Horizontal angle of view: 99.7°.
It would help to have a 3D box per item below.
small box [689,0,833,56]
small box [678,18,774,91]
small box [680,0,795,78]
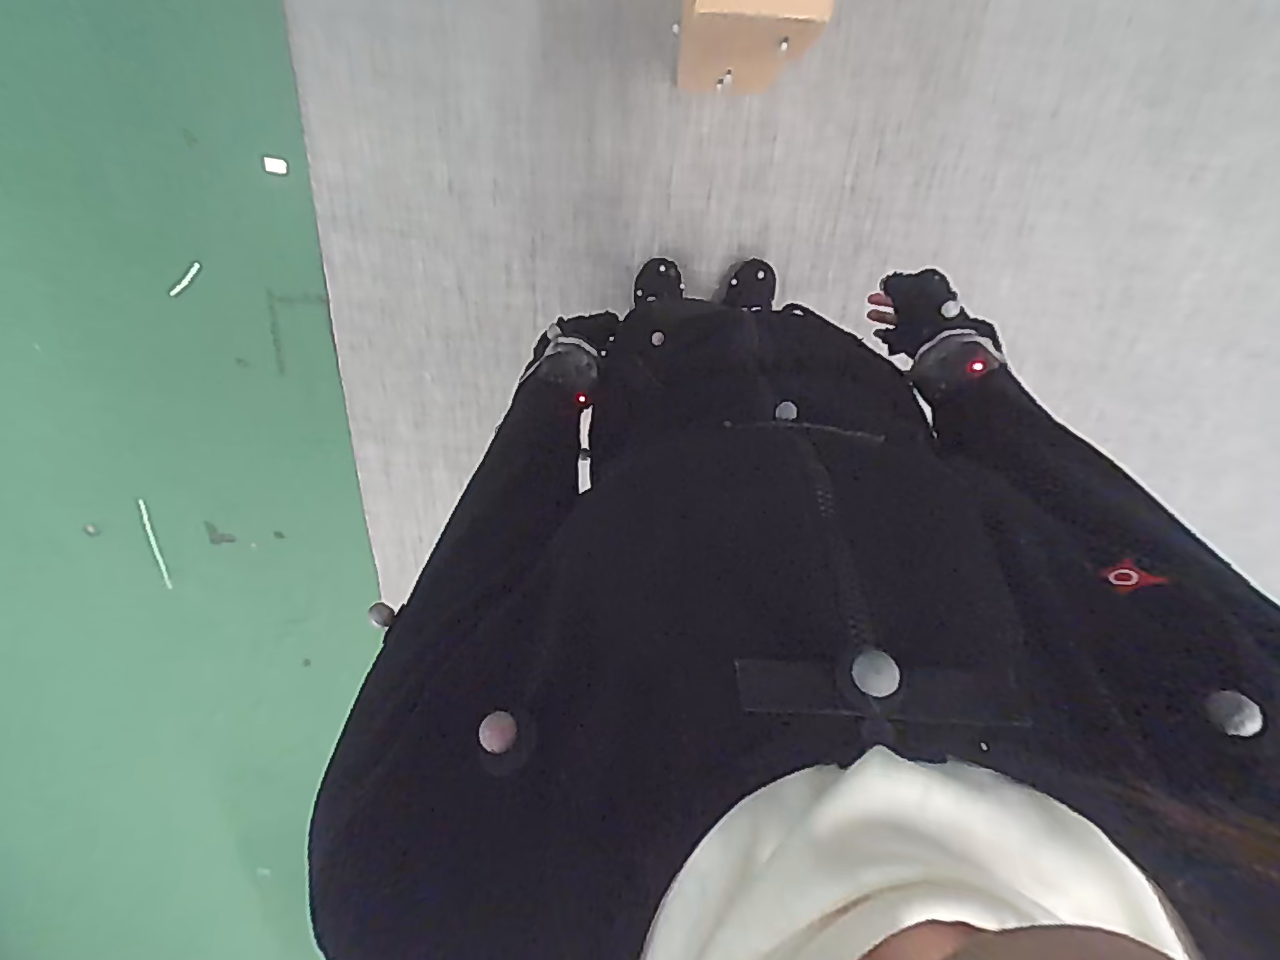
[{"bbox_3d":[0.161,-0.694,0.724,0.179,0.176,0.168,4,114,2],"label":"small box"},{"bbox_3d":[0.165,-0.847,1.011,0.179,0.176,0.168,4,115,2],"label":"small box"},{"bbox_3d":[0.158,-0.768,0.872,0.179,0.176,0.168,3,117,2],"label":"small box"}]
